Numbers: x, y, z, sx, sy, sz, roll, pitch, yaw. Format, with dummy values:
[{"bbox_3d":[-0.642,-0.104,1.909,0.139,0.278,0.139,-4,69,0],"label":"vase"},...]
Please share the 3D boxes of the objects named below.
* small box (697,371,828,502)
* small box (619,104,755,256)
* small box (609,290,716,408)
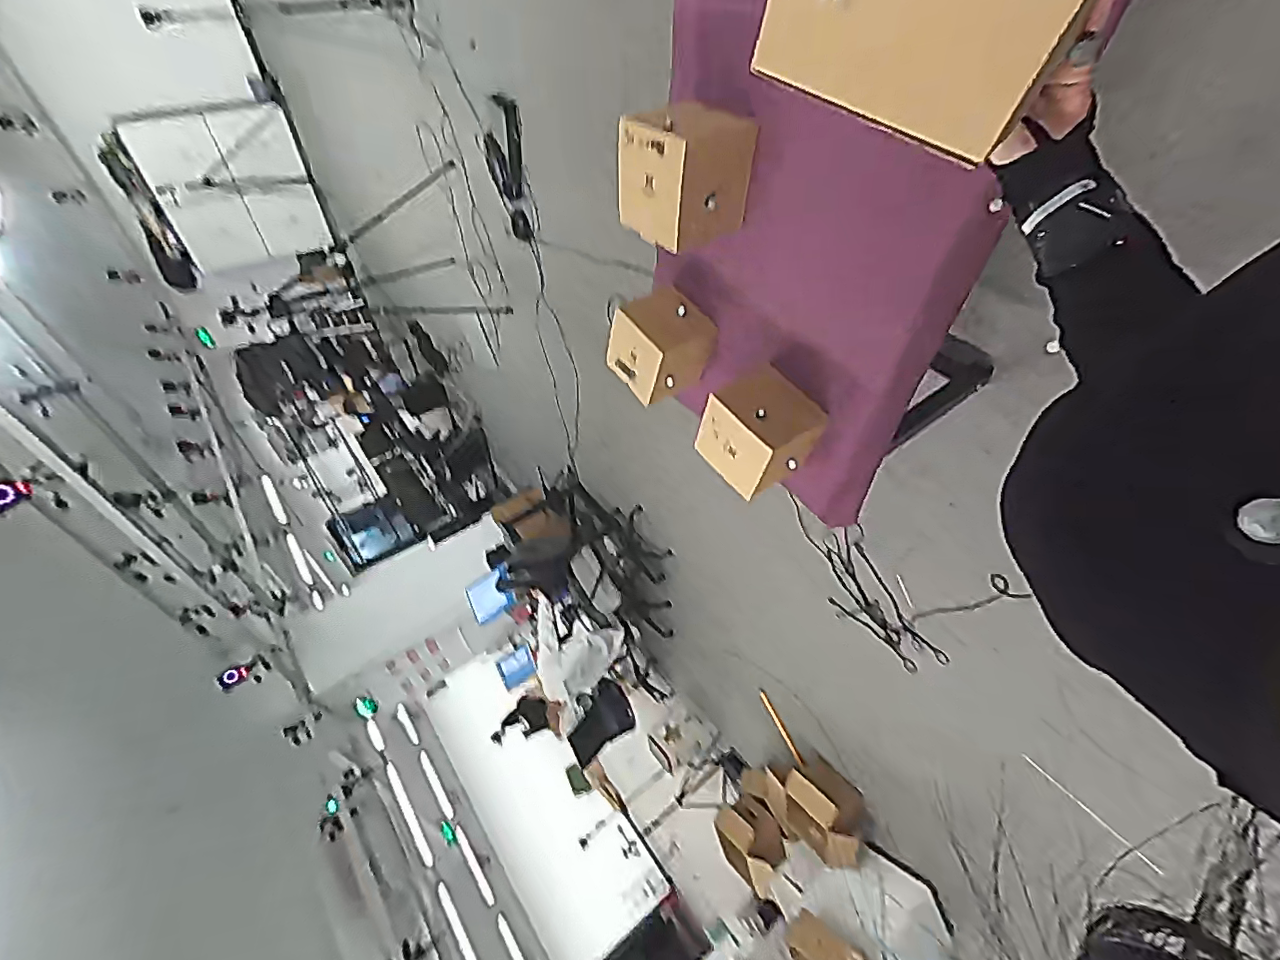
[{"bbox_3d":[0.248,-0.094,1.102,0.179,0.176,0.168,48,151,24],"label":"small box"},{"bbox_3d":[0.081,-0.532,0.954,0.168,0.176,0.179,41,150,30],"label":"small box"},{"bbox_3d":[0.050,-0.303,1.243,0.168,0.176,0.179,49,151,19],"label":"small box"}]
